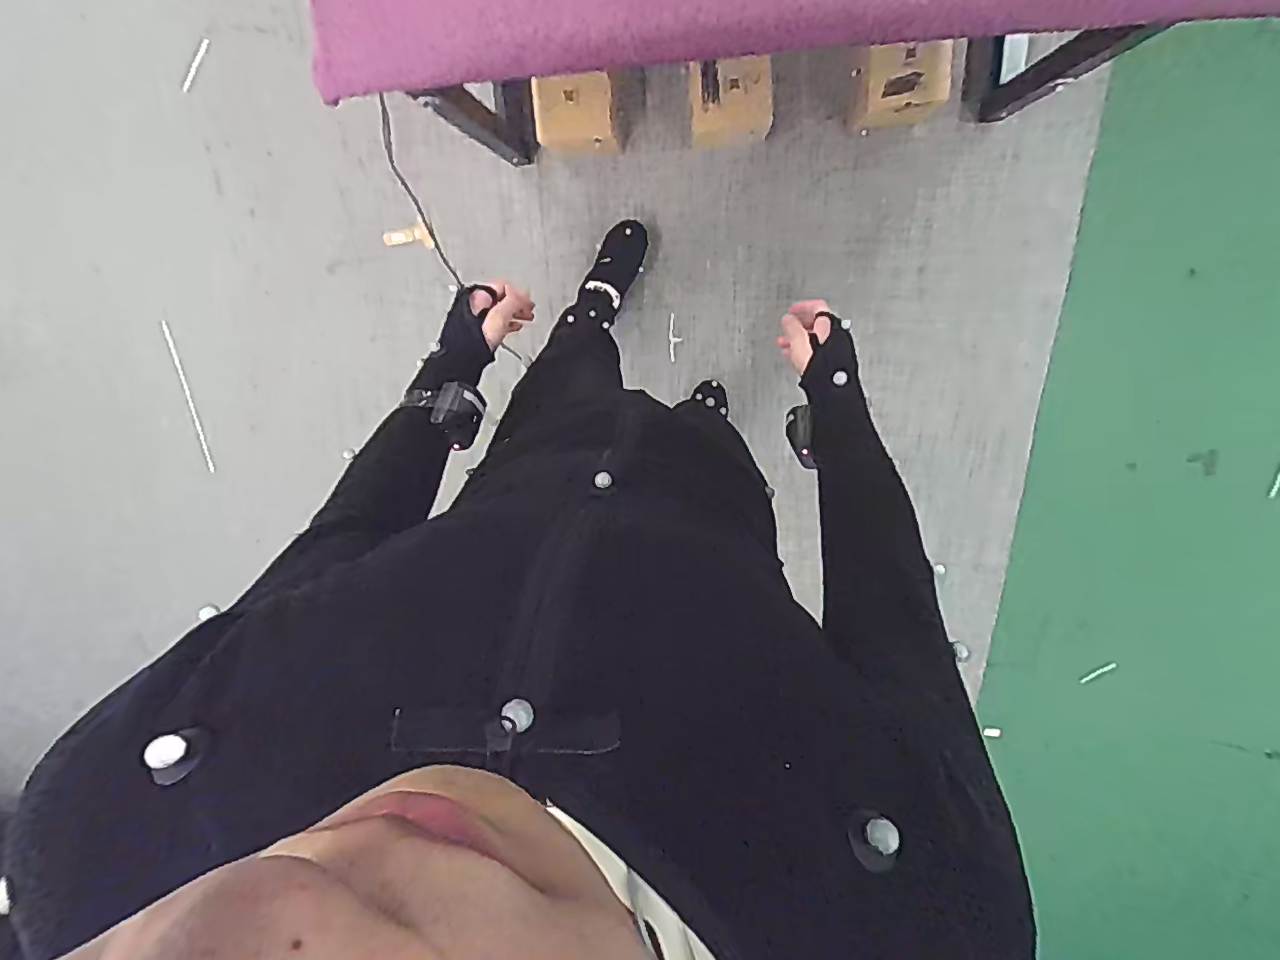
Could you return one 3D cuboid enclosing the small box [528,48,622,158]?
[{"bbox_3d":[-0.145,-0.868,1.262,0.179,0.176,0.168,-2,109,7],"label":"small box"}]

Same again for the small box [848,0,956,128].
[{"bbox_3d":[0.558,-0.889,1.175,0.168,0.176,0.179,-4,108,7],"label":"small box"}]
